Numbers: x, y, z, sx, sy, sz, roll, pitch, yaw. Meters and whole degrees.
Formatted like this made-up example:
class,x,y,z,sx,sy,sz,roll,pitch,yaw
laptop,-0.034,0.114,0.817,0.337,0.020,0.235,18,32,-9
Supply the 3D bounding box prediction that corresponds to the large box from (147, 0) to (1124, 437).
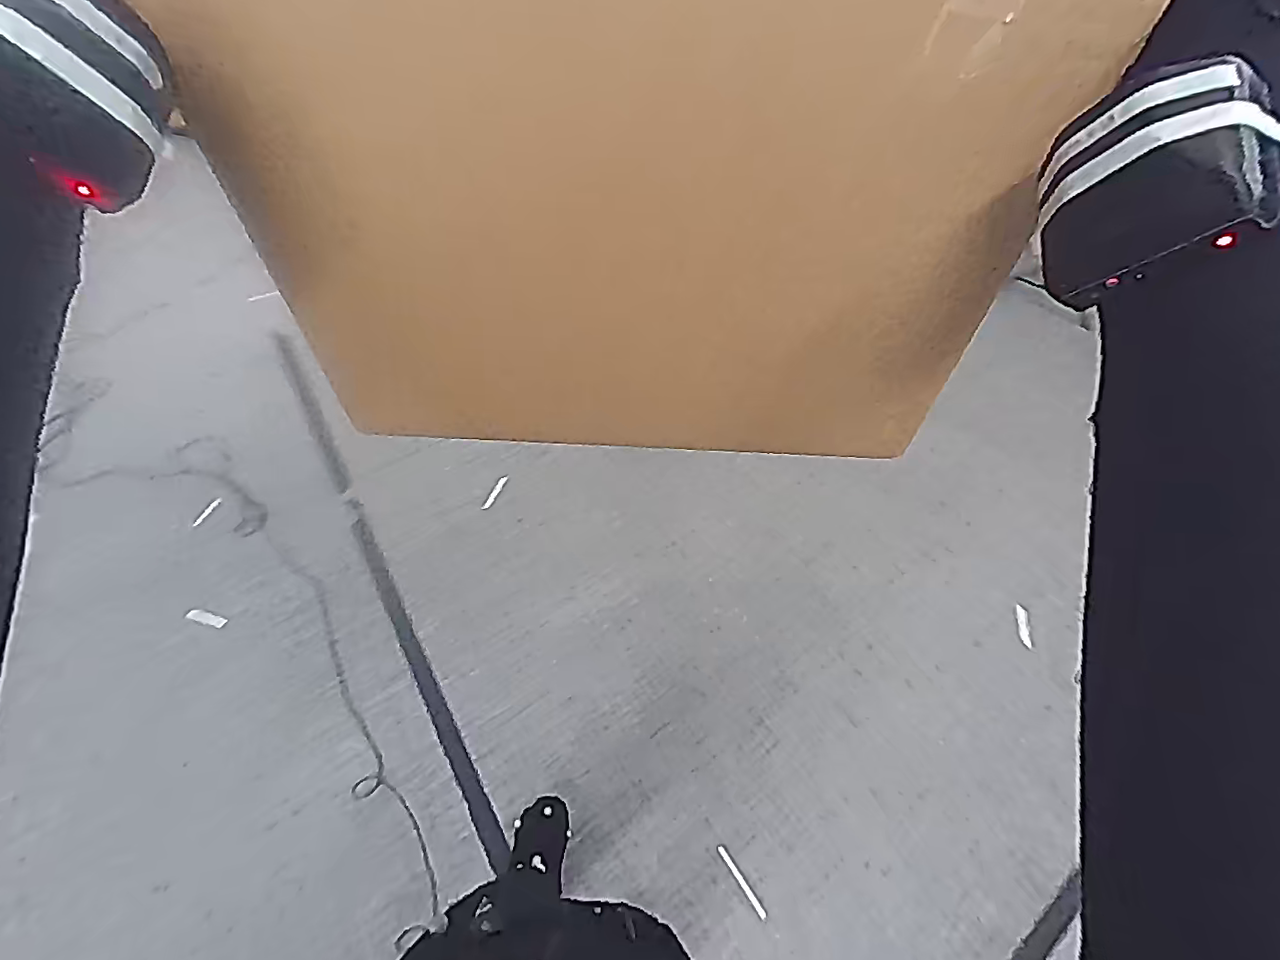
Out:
class,x,y,z,sx,sy,sz,roll,pitch,yaw
large box,-0.006,-0.245,0.380,0.408,0.320,0.320,3,51,-1
